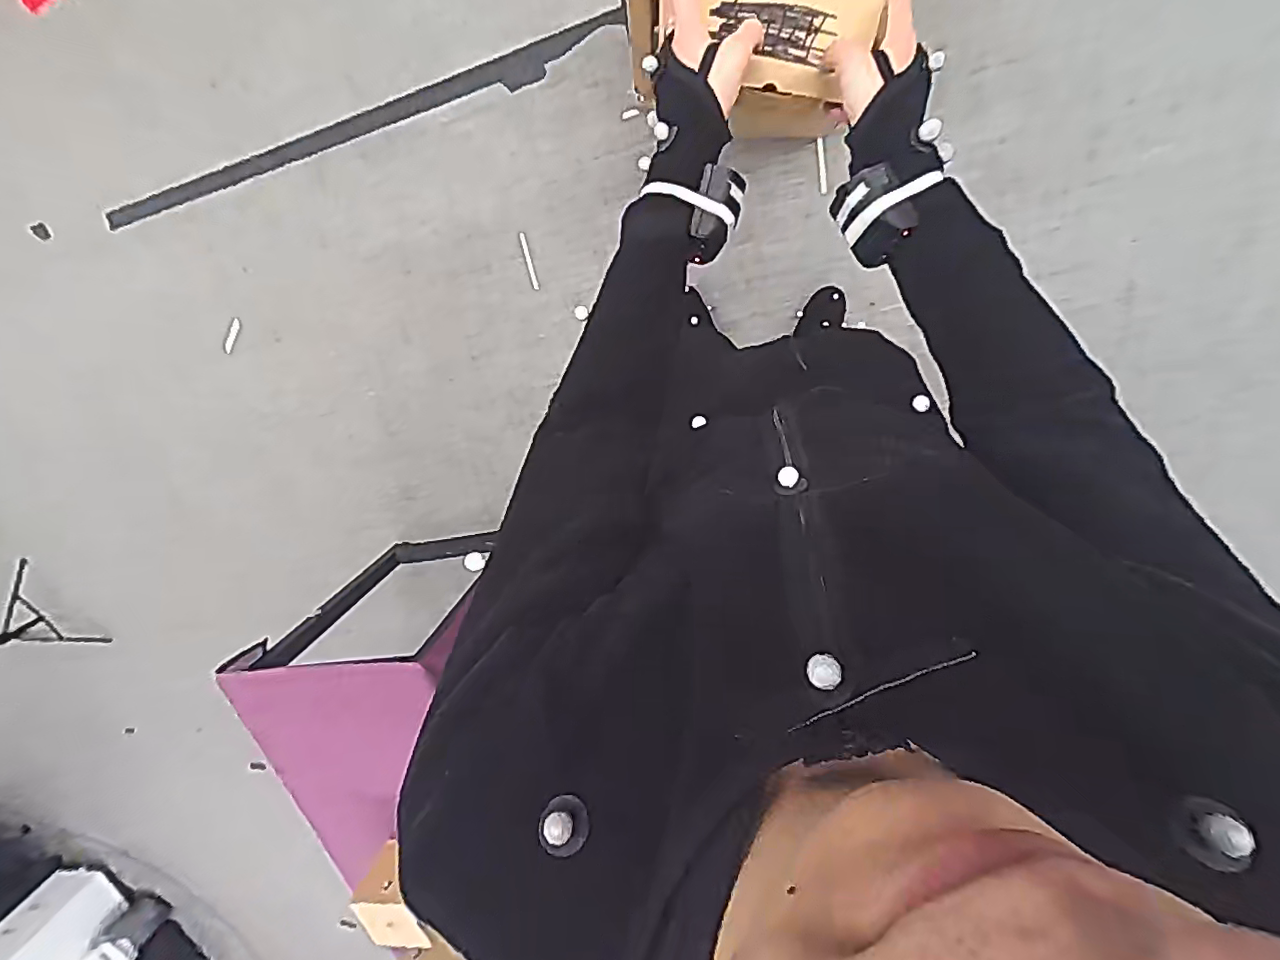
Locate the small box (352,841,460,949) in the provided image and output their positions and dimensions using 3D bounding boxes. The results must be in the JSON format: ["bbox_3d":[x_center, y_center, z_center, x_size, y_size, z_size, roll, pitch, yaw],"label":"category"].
[{"bbox_3d":[-0.595,1.072,1.407,0.179,0.176,0.168,-11,109,16],"label":"small box"}]
